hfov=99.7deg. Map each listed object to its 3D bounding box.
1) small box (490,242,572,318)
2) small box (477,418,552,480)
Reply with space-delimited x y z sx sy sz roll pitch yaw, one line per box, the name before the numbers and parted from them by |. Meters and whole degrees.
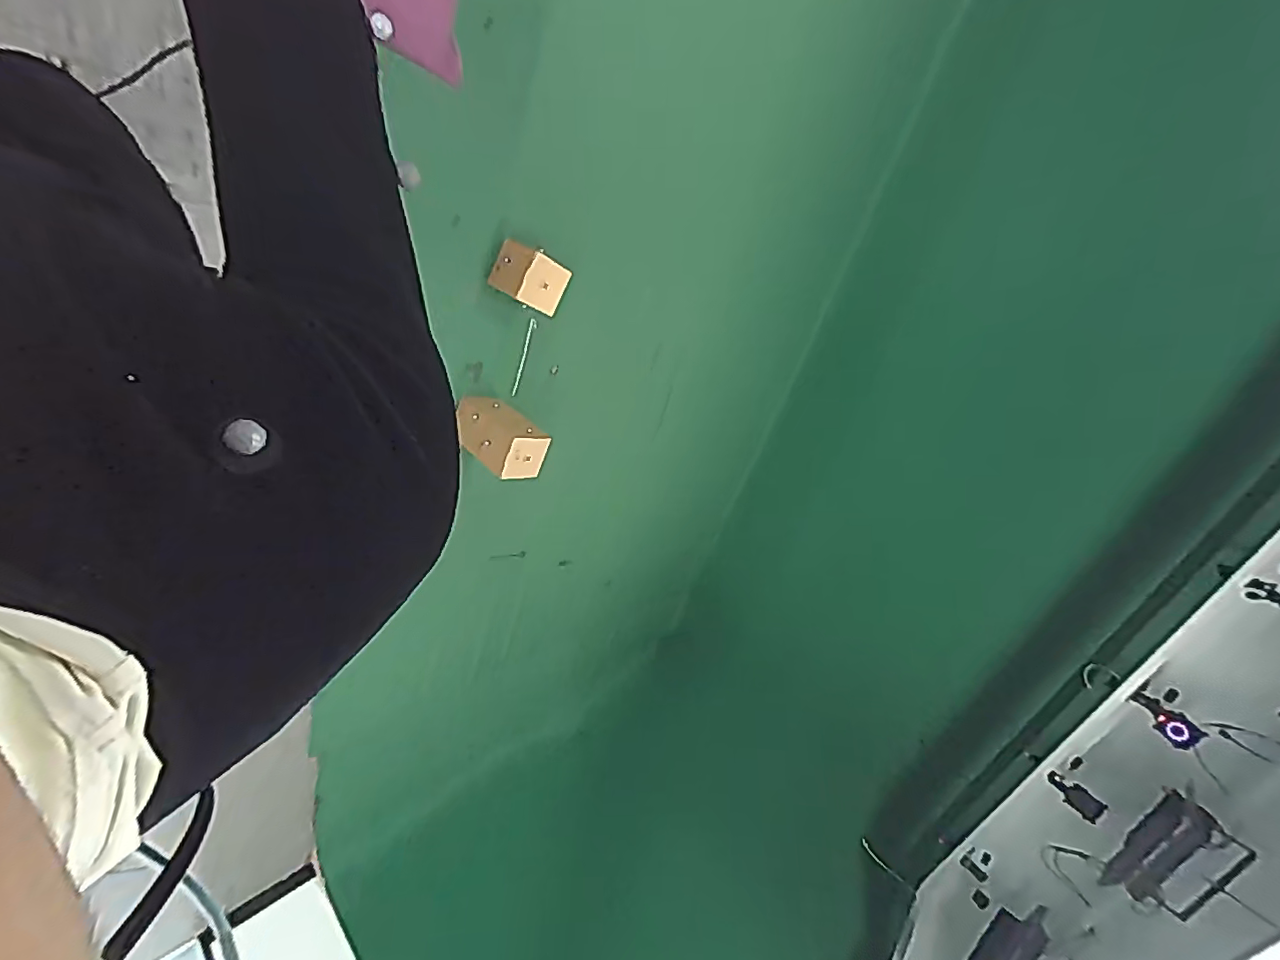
small box | -0.372 -0.682 1.840 0.179 0.176 0.168 10 112 -56
small box | -0.457 -0.113 1.963 0.179 0.176 0.168 -3 123 -53
